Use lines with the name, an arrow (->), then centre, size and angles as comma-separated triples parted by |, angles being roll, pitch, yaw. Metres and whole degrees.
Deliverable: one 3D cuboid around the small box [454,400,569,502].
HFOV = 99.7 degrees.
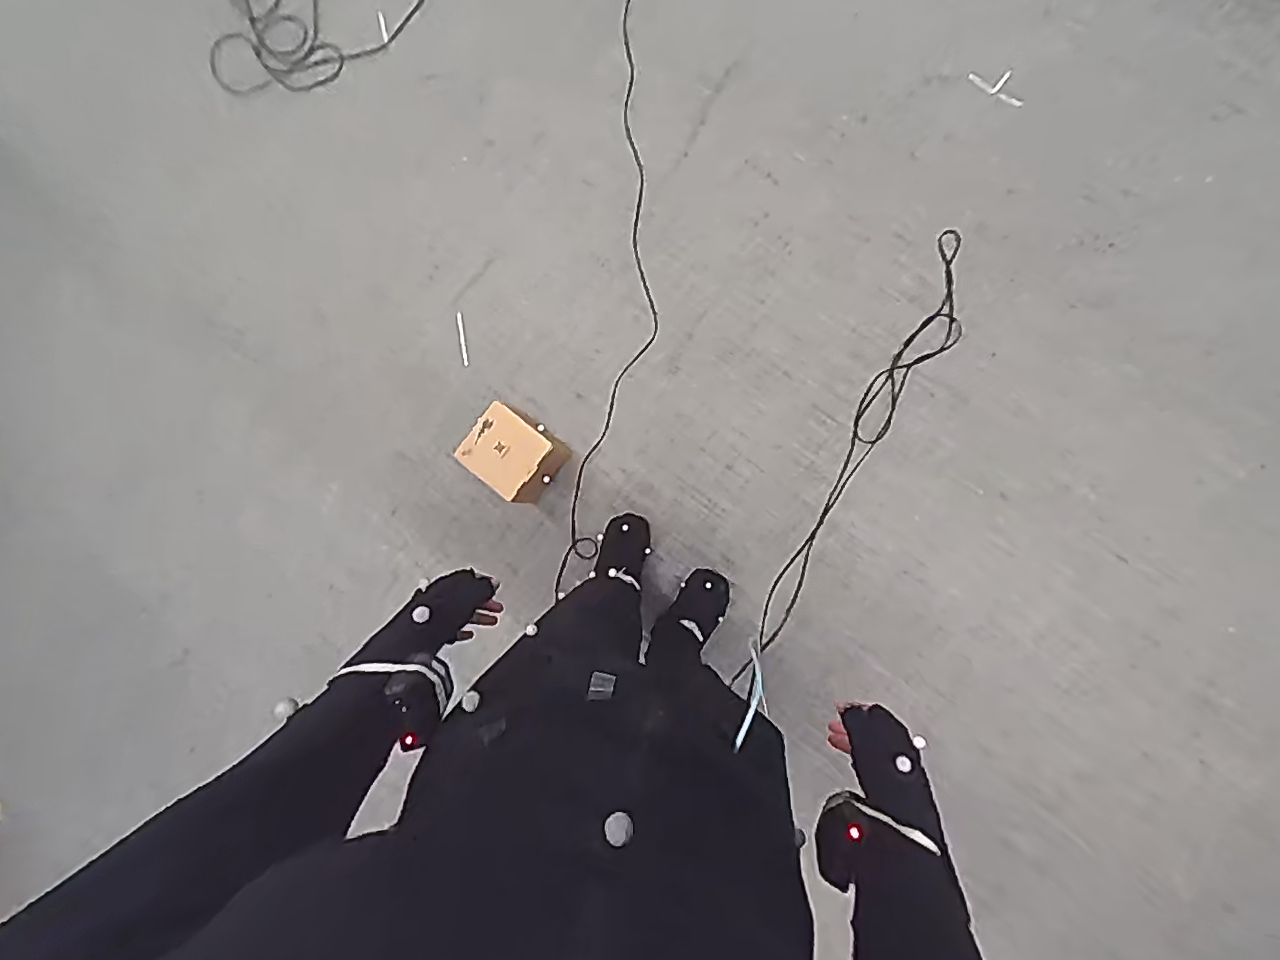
small box -> -0.294, -0.066, 1.283 | 0.179, 0.176, 0.168 | 39, 93, 7
